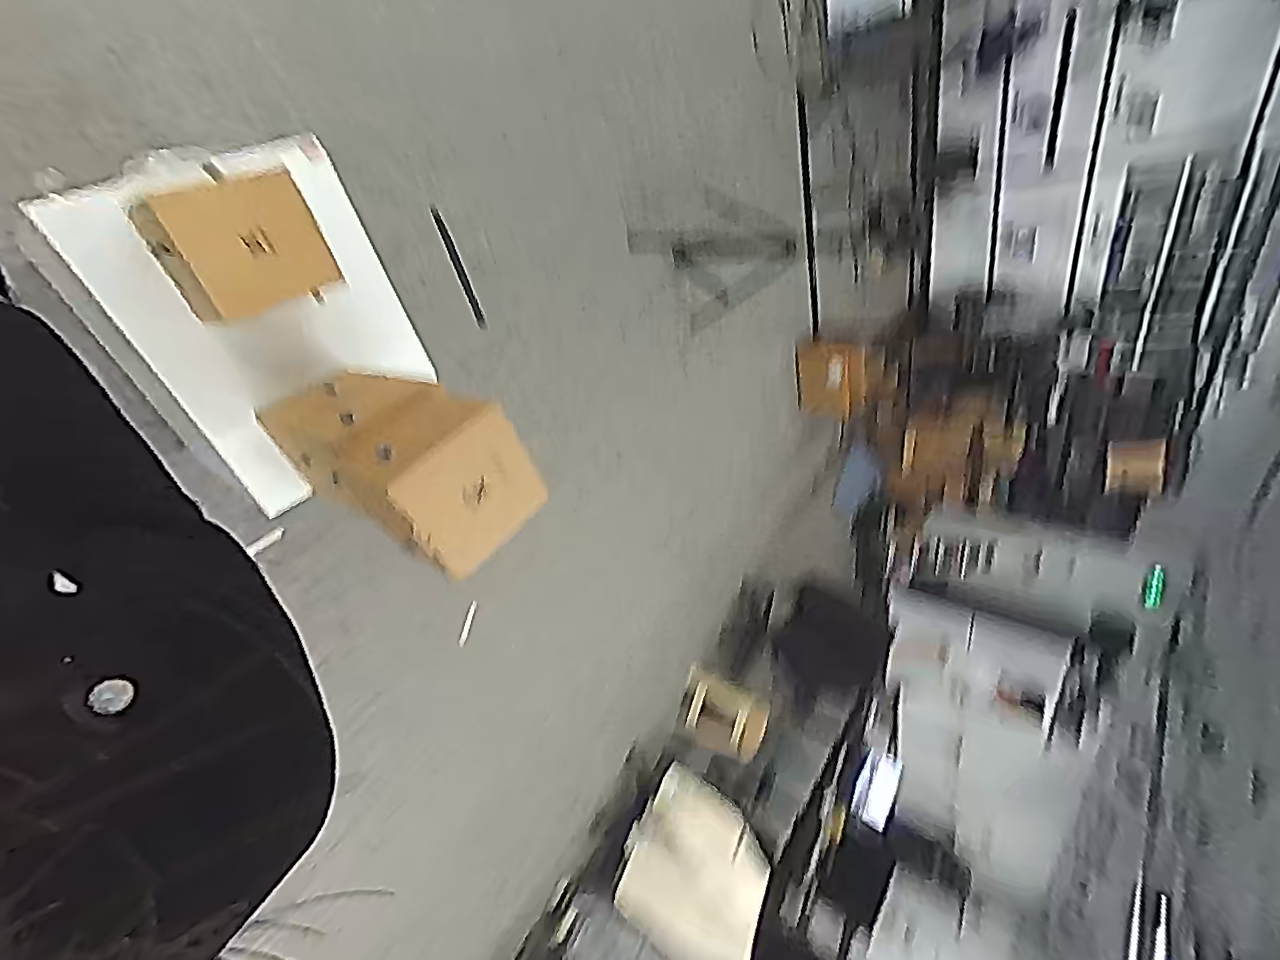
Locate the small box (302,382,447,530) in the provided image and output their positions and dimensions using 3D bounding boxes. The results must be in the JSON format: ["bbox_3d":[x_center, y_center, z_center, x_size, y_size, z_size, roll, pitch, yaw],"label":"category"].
[{"bbox_3d":[-0.386,-0.039,0.838,0.179,0.176,0.168,-43,131,-34],"label":"small box"}]

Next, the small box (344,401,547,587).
[{"bbox_3d":[-0.268,0.010,0.736,0.179,0.176,0.168,-48,134,-31],"label":"small box"}]

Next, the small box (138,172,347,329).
[{"bbox_3d":[-0.578,-0.328,0.786,0.179,0.176,0.168,-41,131,-35],"label":"small box"}]

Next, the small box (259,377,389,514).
[{"bbox_3d":[-0.511,-0.070,0.942,0.179,0.176,0.168,-44,130,-33],"label":"small box"}]
